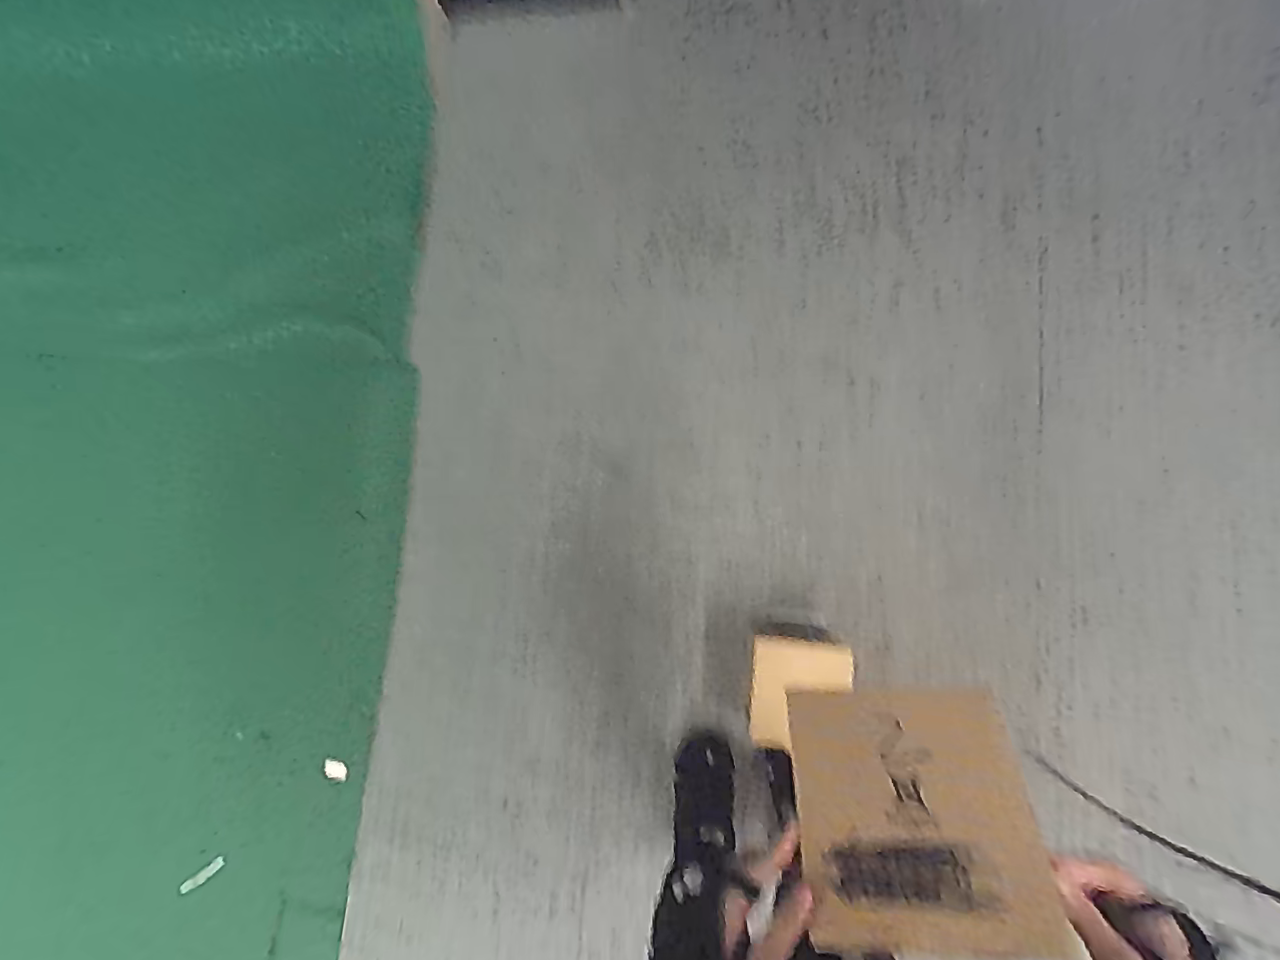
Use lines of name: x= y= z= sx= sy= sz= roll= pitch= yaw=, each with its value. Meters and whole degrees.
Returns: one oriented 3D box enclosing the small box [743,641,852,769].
small box: x=0.286 y=0.407 z=1.011 sx=0.168 sy=0.176 sz=0.179 roll=5 pitch=83 yaw=8
